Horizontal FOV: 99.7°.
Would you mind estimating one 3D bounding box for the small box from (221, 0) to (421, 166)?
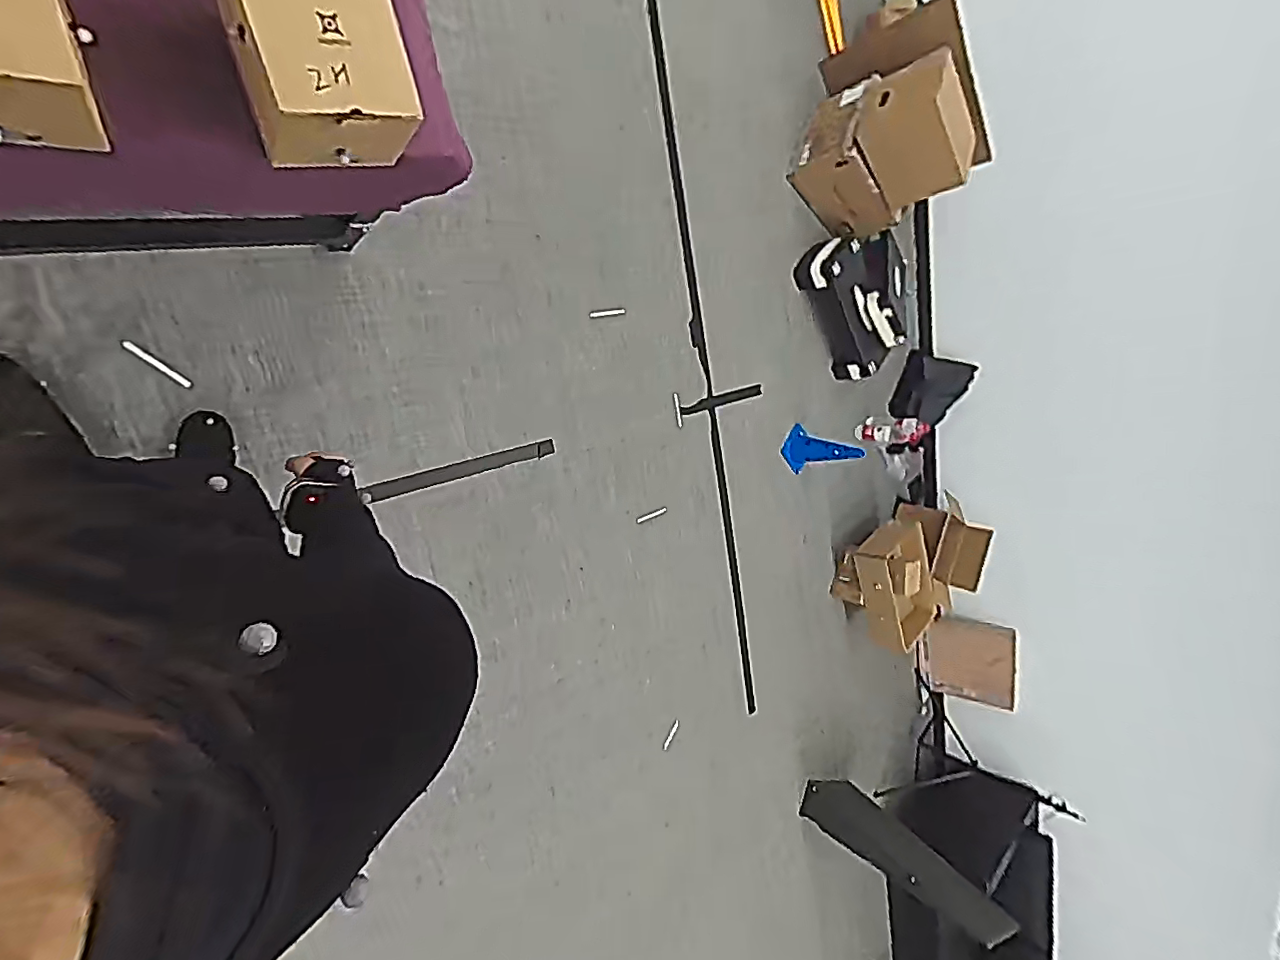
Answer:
[{"bbox_3d":[-0.410,-0.528,0.692,0.168,0.176,0.179,-23,110,-33],"label":"small box"}]

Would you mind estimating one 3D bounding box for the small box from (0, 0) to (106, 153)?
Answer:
[{"bbox_3d":[-0.652,-0.445,0.513,0.168,0.176,0.179,-17,106,-35],"label":"small box"}]
